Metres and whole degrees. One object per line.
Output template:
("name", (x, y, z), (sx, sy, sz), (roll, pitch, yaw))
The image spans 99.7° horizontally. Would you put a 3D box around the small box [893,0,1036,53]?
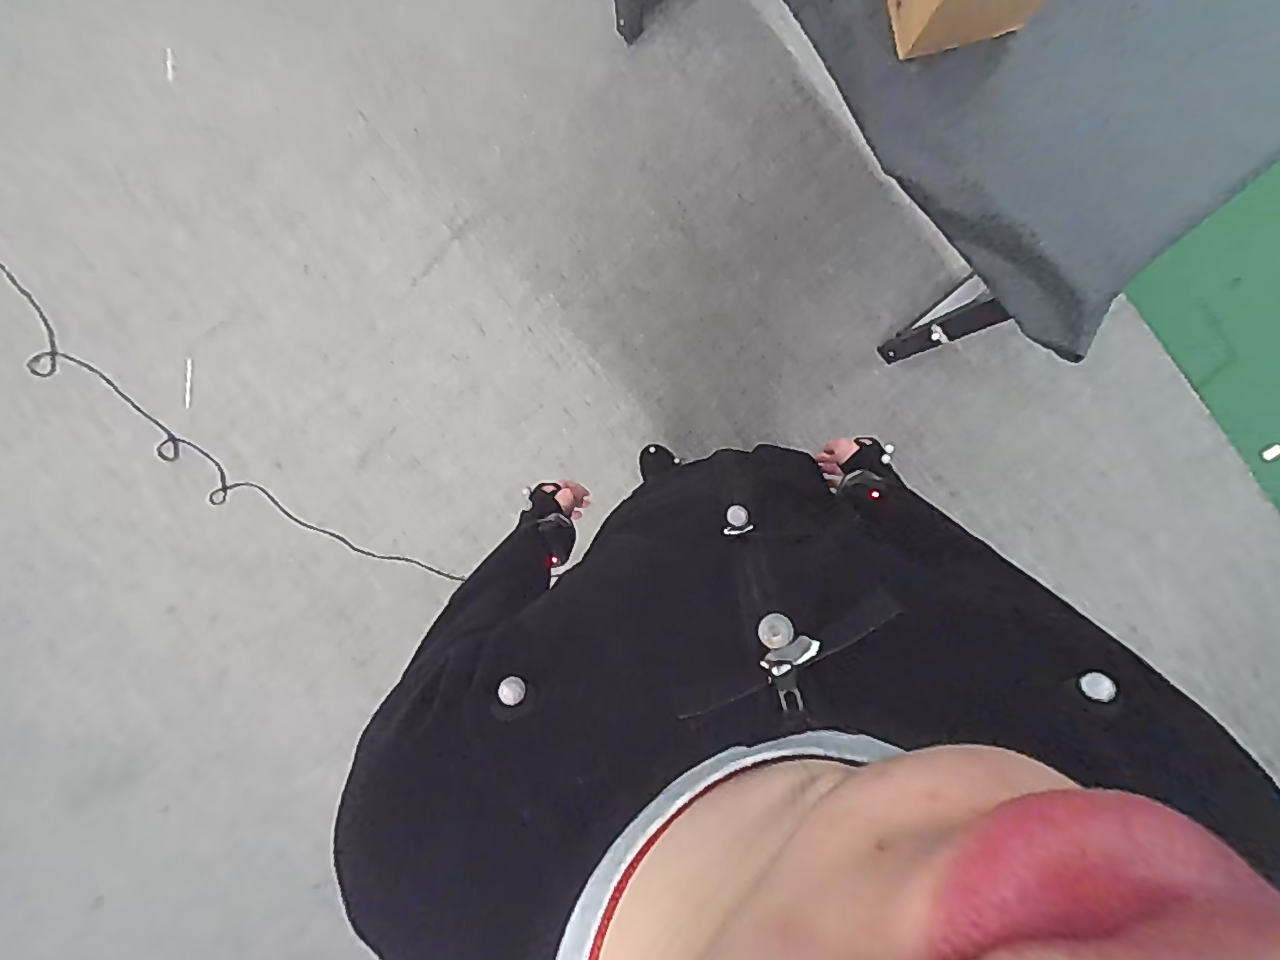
("small box", (0.433, -0.691, 0.683), (0.179, 0.176, 0.168), (-14, 95, 1))
